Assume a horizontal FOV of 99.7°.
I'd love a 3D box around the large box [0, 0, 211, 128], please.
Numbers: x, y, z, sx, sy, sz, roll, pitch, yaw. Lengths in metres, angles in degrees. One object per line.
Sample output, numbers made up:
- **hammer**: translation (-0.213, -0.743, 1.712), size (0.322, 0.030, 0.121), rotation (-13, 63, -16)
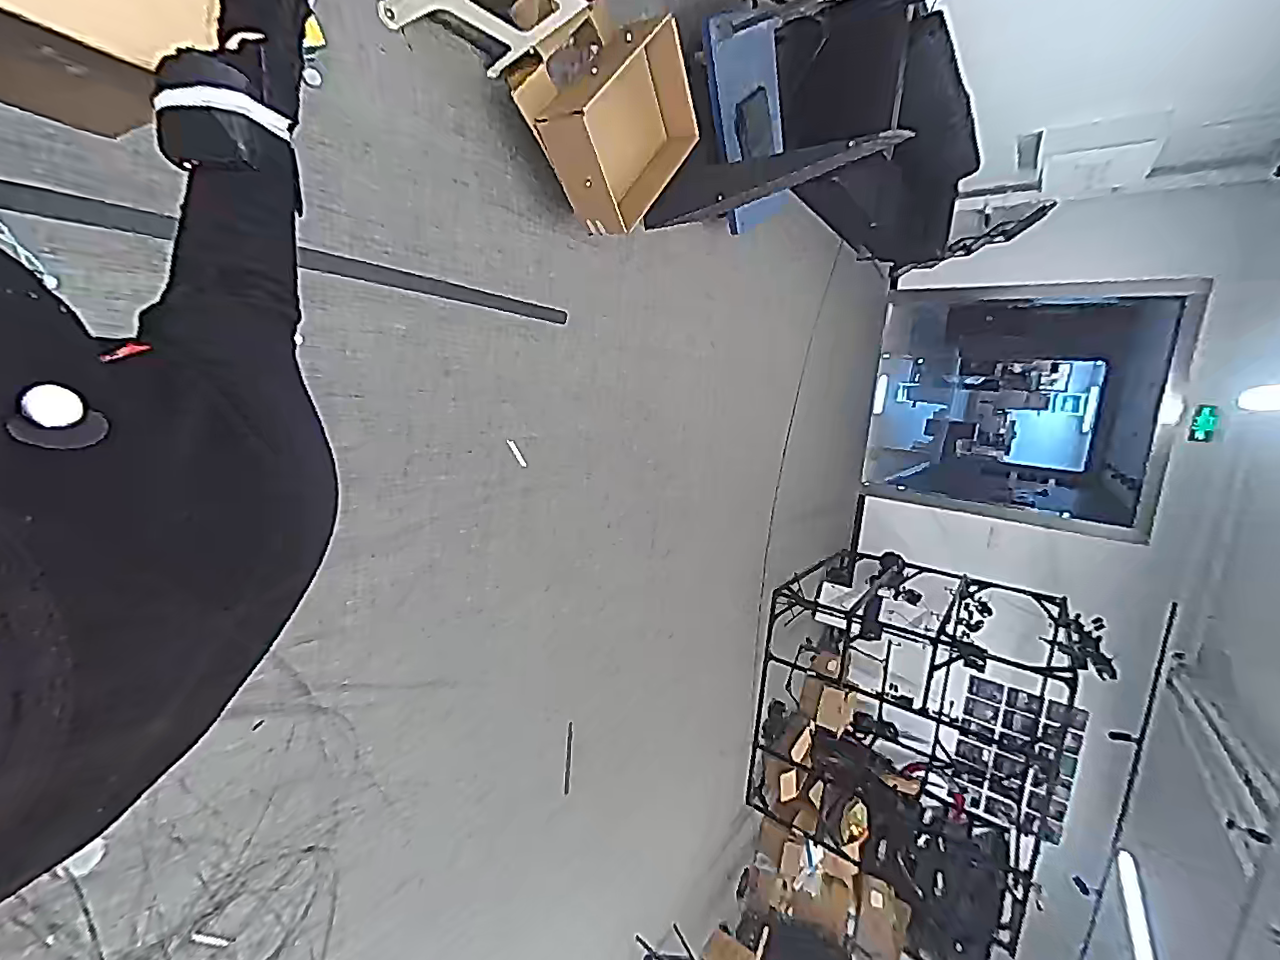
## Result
- **large box**: translation (-0.530, -0.460, 0.294), size (0.408, 0.320, 0.320), rotation (-5, 110, -55)
